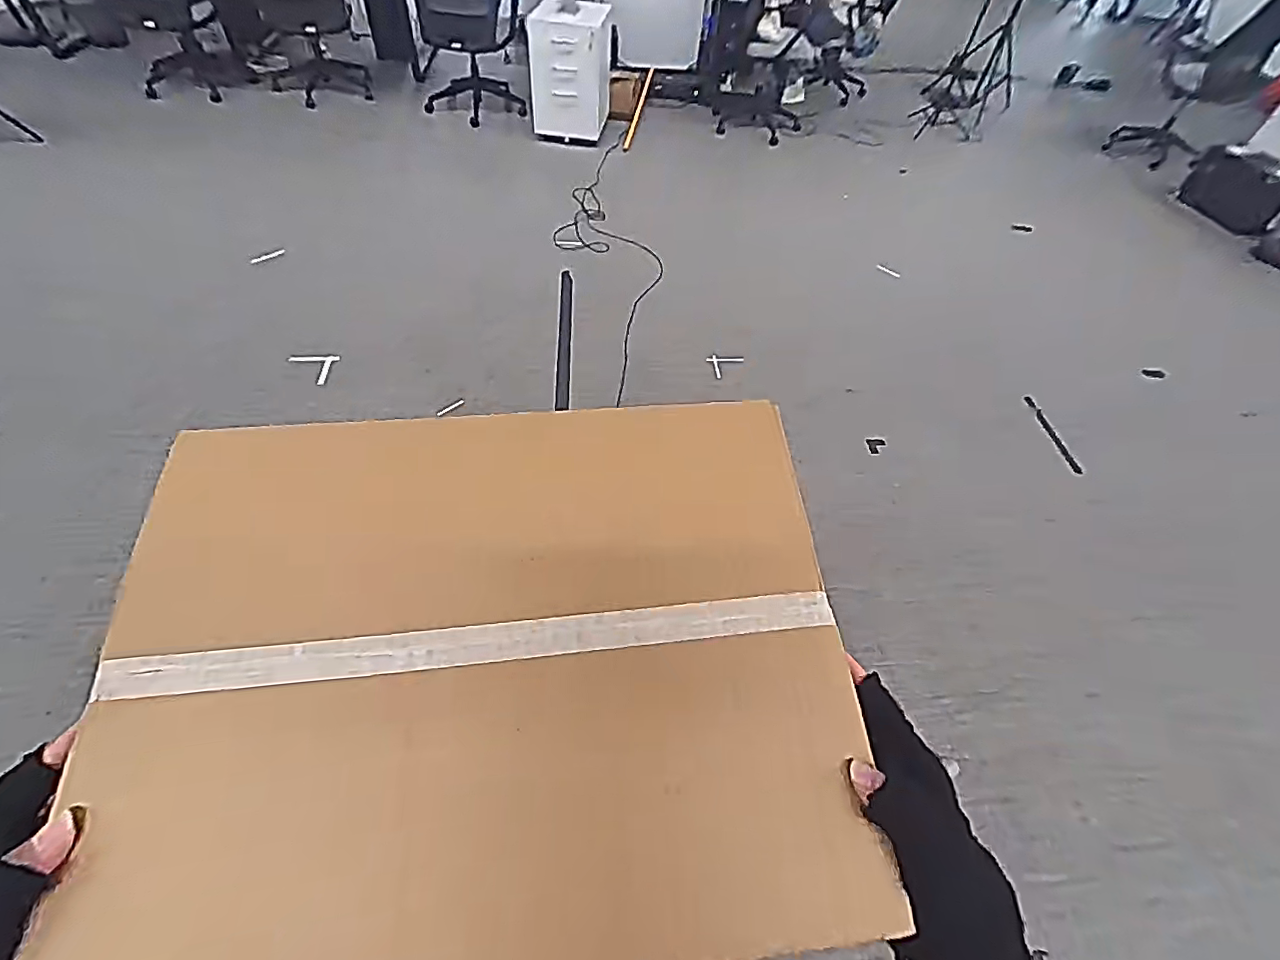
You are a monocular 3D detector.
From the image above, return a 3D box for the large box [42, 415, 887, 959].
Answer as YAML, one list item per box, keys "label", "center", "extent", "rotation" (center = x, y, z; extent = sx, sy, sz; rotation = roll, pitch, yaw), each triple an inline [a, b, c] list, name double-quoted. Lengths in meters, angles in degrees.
- label: "large box"
  center: [-0.094, 0.169, 0.448]
  extent: [0.408, 0.320, 0.320]
  rotation: [-4, 63, -6]
